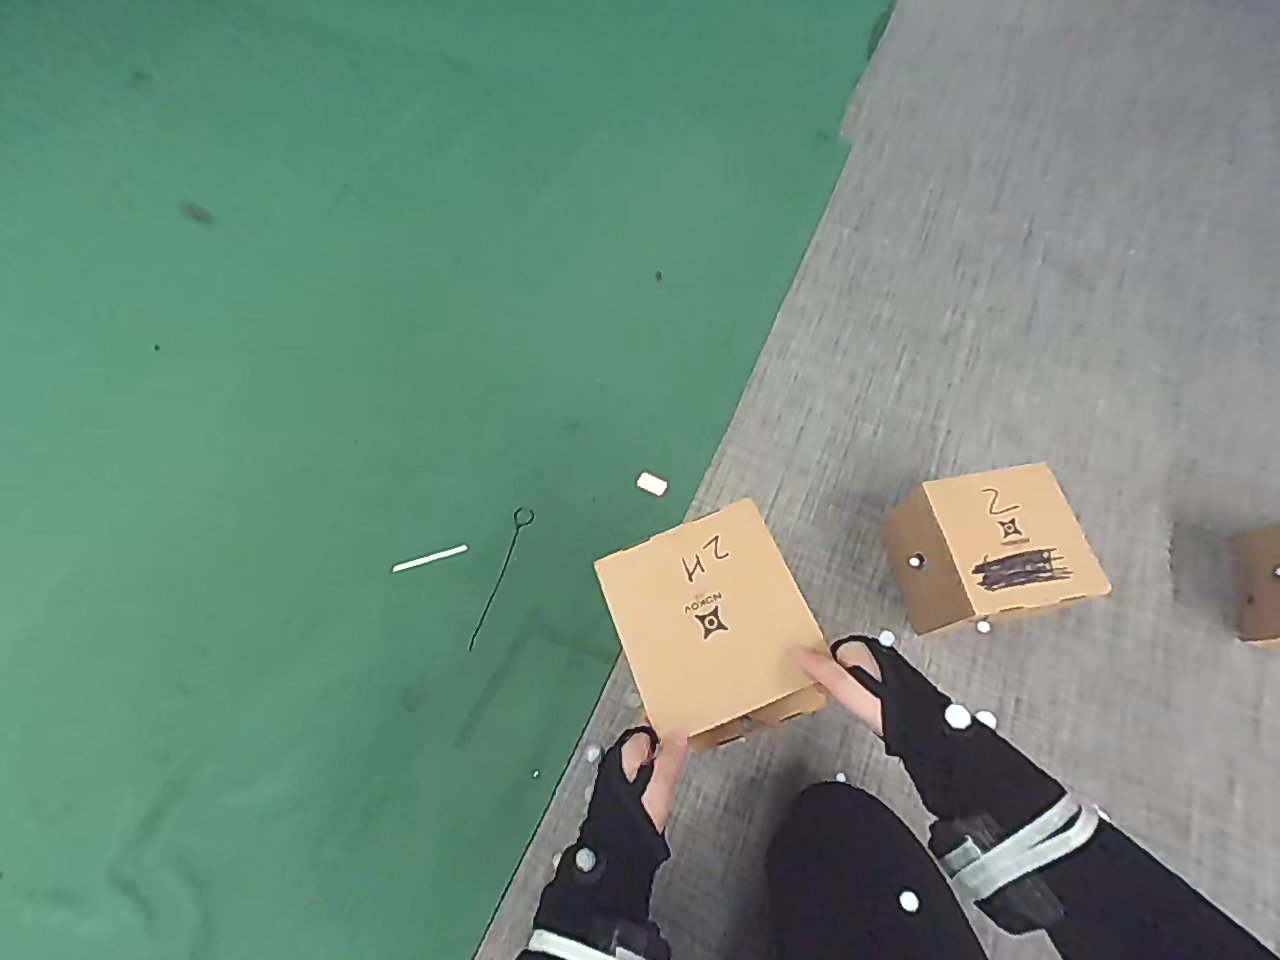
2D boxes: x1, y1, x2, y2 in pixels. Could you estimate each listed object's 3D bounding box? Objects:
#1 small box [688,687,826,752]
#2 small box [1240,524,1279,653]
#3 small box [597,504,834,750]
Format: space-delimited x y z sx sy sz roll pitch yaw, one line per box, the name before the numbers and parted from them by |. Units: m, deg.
small box | 0.112 0.237 0.708 0.168 0.176 0.179 -19 66 -4
small box | 0.931 0.144 0.688 0.179 0.176 0.168 14 68 11
small box | 0.074 0.155 0.561 0.168 0.176 0.179 -22 65 -2
